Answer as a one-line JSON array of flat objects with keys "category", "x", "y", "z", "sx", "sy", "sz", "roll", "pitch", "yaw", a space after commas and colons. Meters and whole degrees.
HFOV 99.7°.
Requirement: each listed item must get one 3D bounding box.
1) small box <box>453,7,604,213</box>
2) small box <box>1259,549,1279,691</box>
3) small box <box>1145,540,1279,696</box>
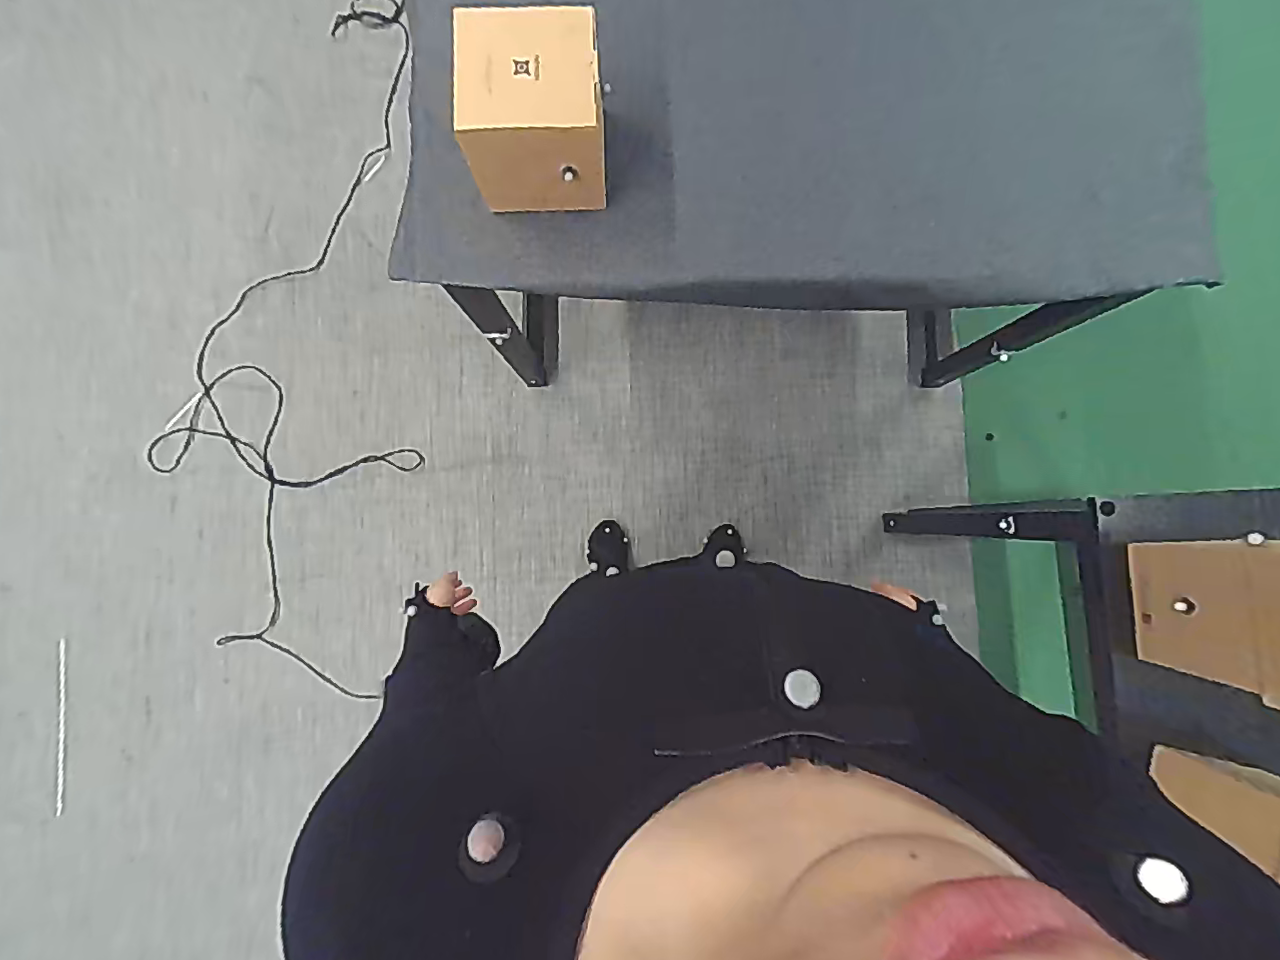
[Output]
[{"category": "small box", "x": -0.140, "y": -0.490, "z": 0.738, "sx": 0.179, "sy": 0.176, "sz": 0.168, "roll": -2, "pitch": 83, "yaw": 1}, {"category": "small box", "x": 0.769, "y": 0.159, "z": 0.517, "sx": 0.168, "sy": 0.176, "sz": 0.179, "roll": -2, "pitch": 86, "yaw": 1}, {"category": "small box", "x": 0.787, "y": 0.163, "z": 0.679, "sx": 0.179, "sy": 0.176, "sz": 0.168, "roll": -2, "pitch": 87, "yaw": 0}]
